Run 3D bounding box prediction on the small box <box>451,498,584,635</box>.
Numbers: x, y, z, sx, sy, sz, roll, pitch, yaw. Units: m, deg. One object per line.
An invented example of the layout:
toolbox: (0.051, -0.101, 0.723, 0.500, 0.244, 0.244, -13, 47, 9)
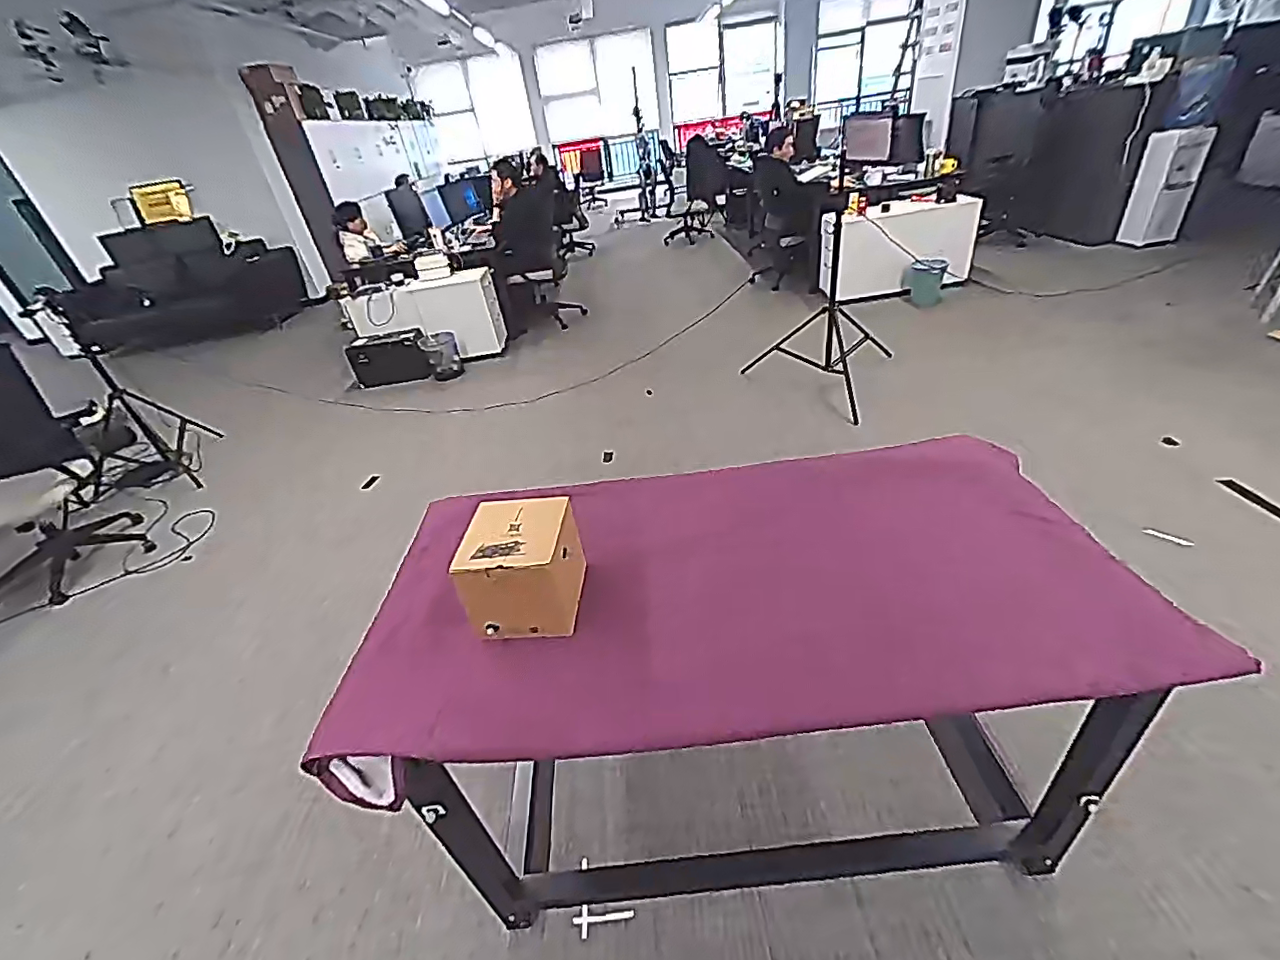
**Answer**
small box: (-0.199, 0.154, 0.942, 0.168, 0.176, 0.179, -4, 34, 7)
